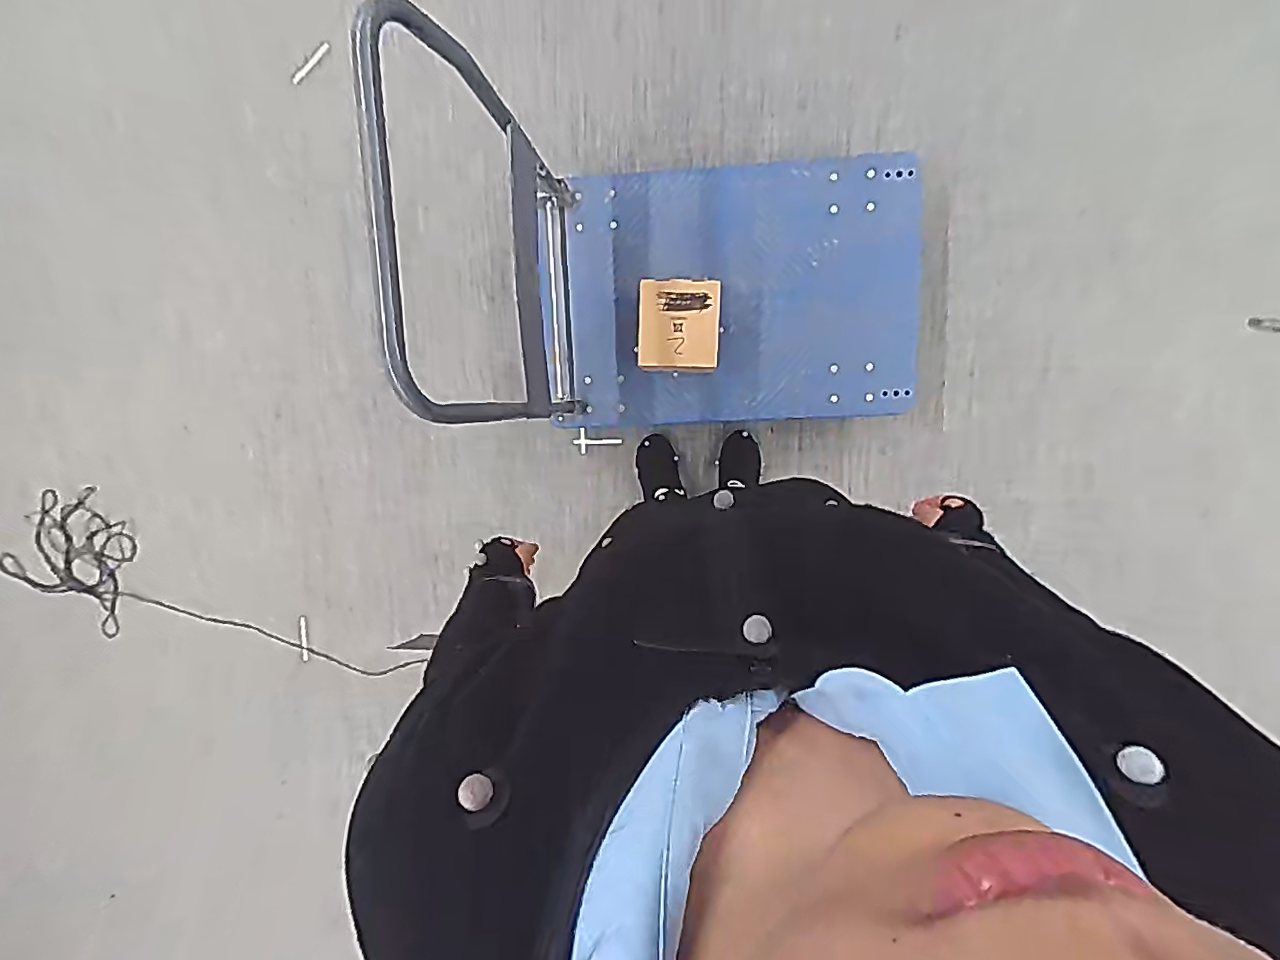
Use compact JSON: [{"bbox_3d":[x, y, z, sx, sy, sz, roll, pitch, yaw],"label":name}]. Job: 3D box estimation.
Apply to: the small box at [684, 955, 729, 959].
[{"bbox_3d":[0.210,1.564,1.593,0.168,0.176,0.179,-12,96,5],"label":"small box"}]
